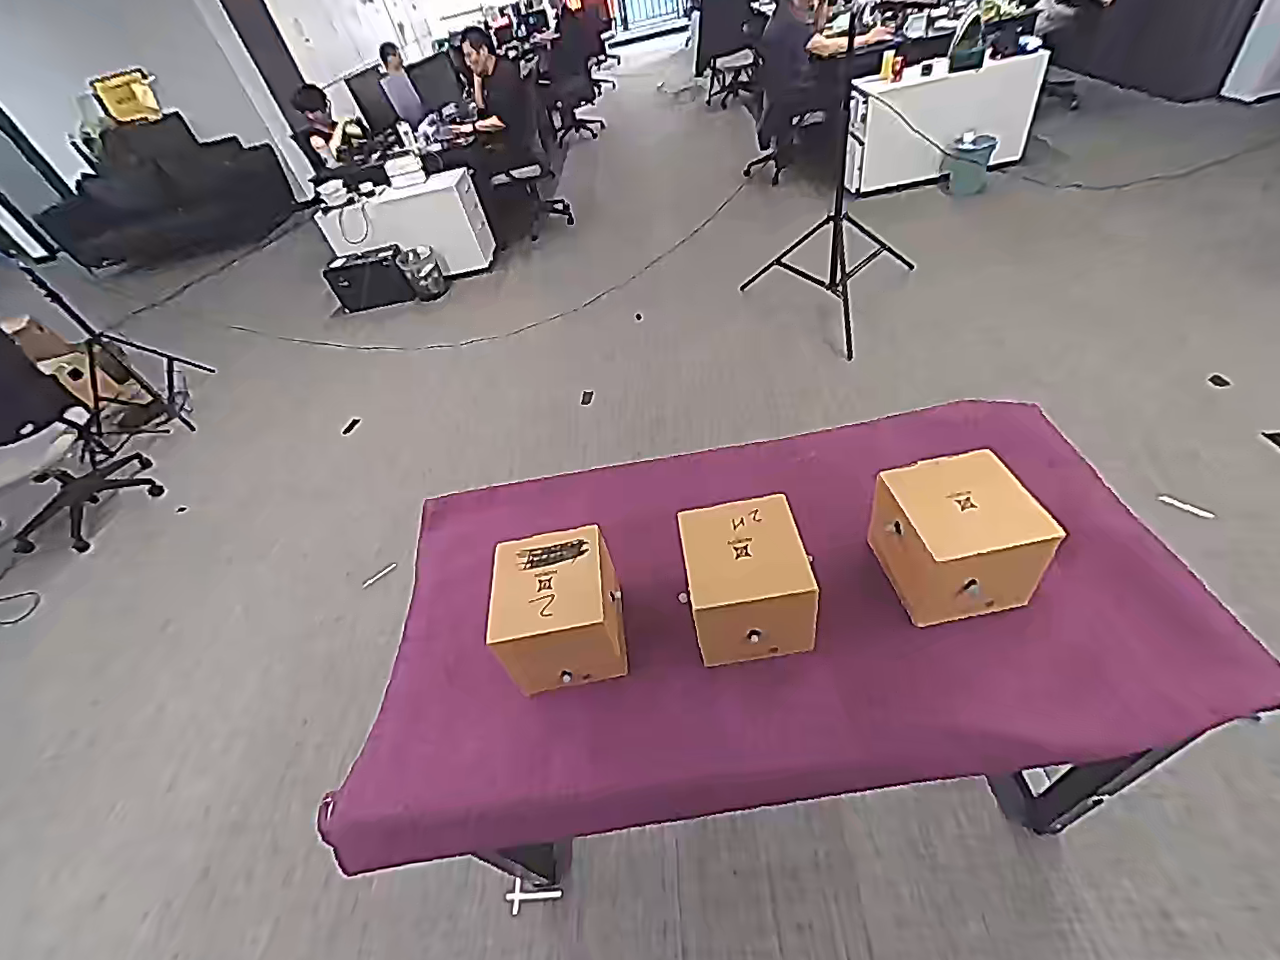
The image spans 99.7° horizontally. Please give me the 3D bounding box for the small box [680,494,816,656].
[{"bbox_3d":[0.160,0.150,0.819,0.168,0.176,0.179,-10,44,4],"label":"small box"}]

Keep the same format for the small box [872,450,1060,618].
[{"bbox_3d":[0.463,0.087,0.802,0.168,0.176,0.179,-13,43,3],"label":"small box"}]
